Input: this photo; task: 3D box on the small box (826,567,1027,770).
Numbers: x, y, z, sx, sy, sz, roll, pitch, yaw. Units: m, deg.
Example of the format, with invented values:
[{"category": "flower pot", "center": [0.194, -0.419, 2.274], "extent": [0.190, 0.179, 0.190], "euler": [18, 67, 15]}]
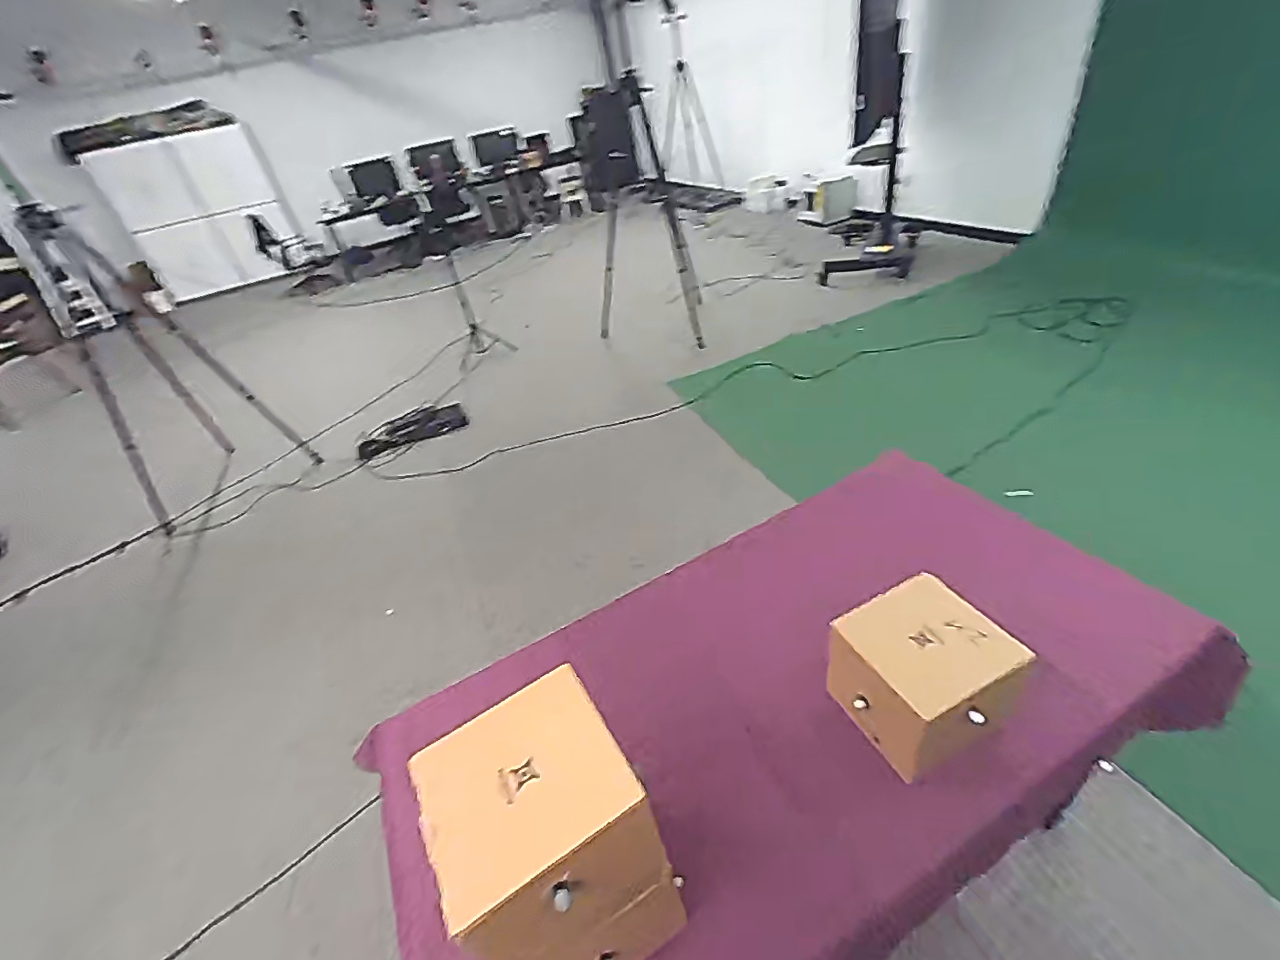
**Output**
[{"category": "small box", "center": [0.381, 0.261, 0.750], "extent": [0.179, 0.176, 0.168], "euler": [-23, 39, -13]}]

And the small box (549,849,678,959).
[{"category": "small box", "center": [-0.069, 0.457, 0.629], "extent": [0.179, 0.176, 0.168], "euler": [-28, 39, -17]}]

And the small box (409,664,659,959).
[{"category": "small box", "center": [-0.095, 0.328, 0.534], "extent": [0.179, 0.176, 0.168], "euler": [-28, 39, -18]}]
